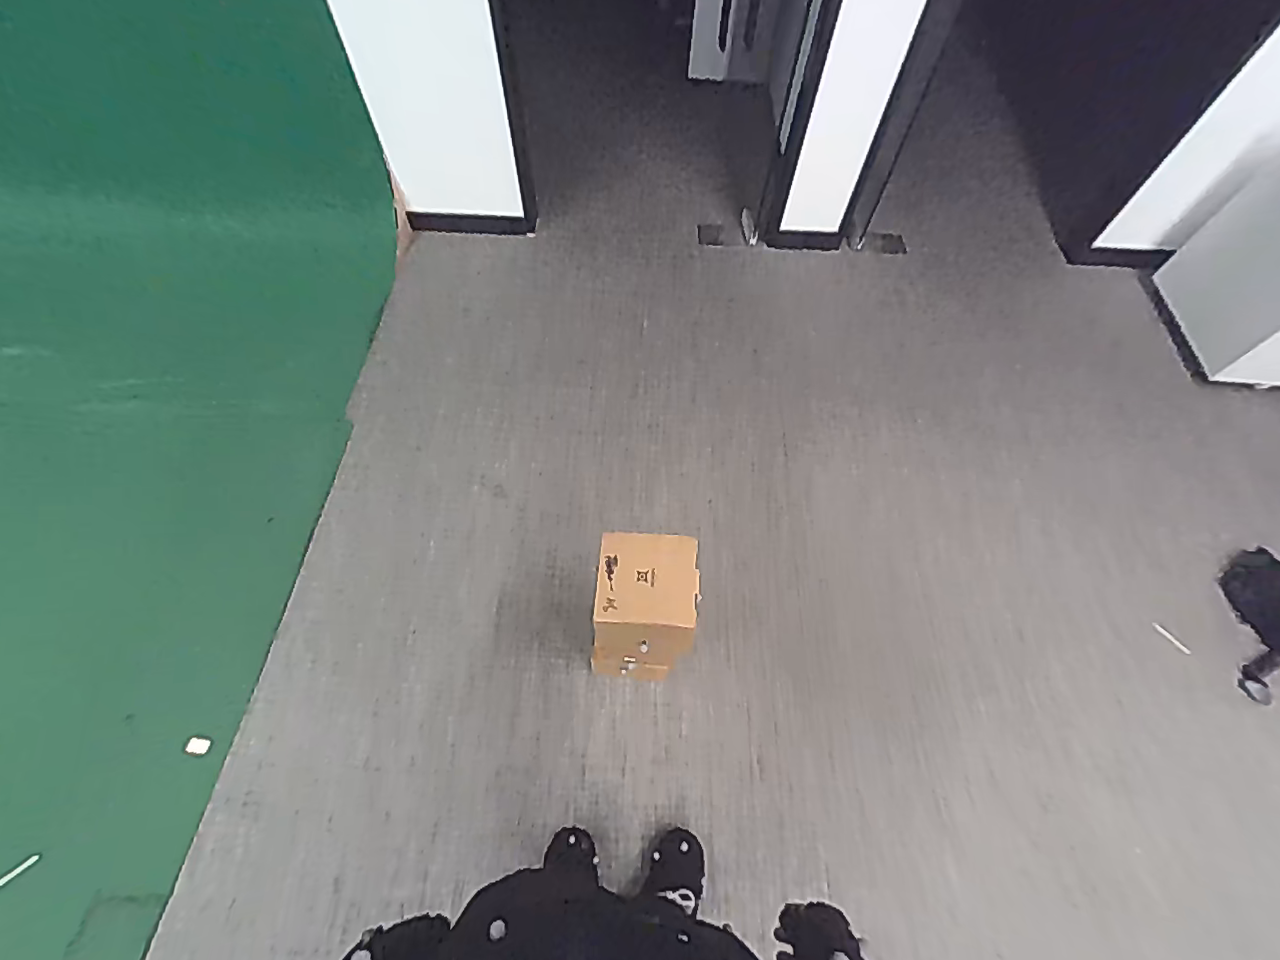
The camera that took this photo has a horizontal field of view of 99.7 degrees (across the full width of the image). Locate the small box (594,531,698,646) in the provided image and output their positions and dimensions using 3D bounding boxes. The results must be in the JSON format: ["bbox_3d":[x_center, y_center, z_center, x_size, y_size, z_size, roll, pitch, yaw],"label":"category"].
[{"bbox_3d":[0.012,0.210,1.020,0.179,0.176,0.168,4,60,1],"label":"small box"}]

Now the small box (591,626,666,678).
[{"bbox_3d":[-0.016,0.371,1.301,0.179,0.176,0.168,6,60,1],"label":"small box"}]

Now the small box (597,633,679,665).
[{"bbox_3d":[0.001,0.287,1.164,0.168,0.176,0.179,4,61,2],"label":"small box"}]
